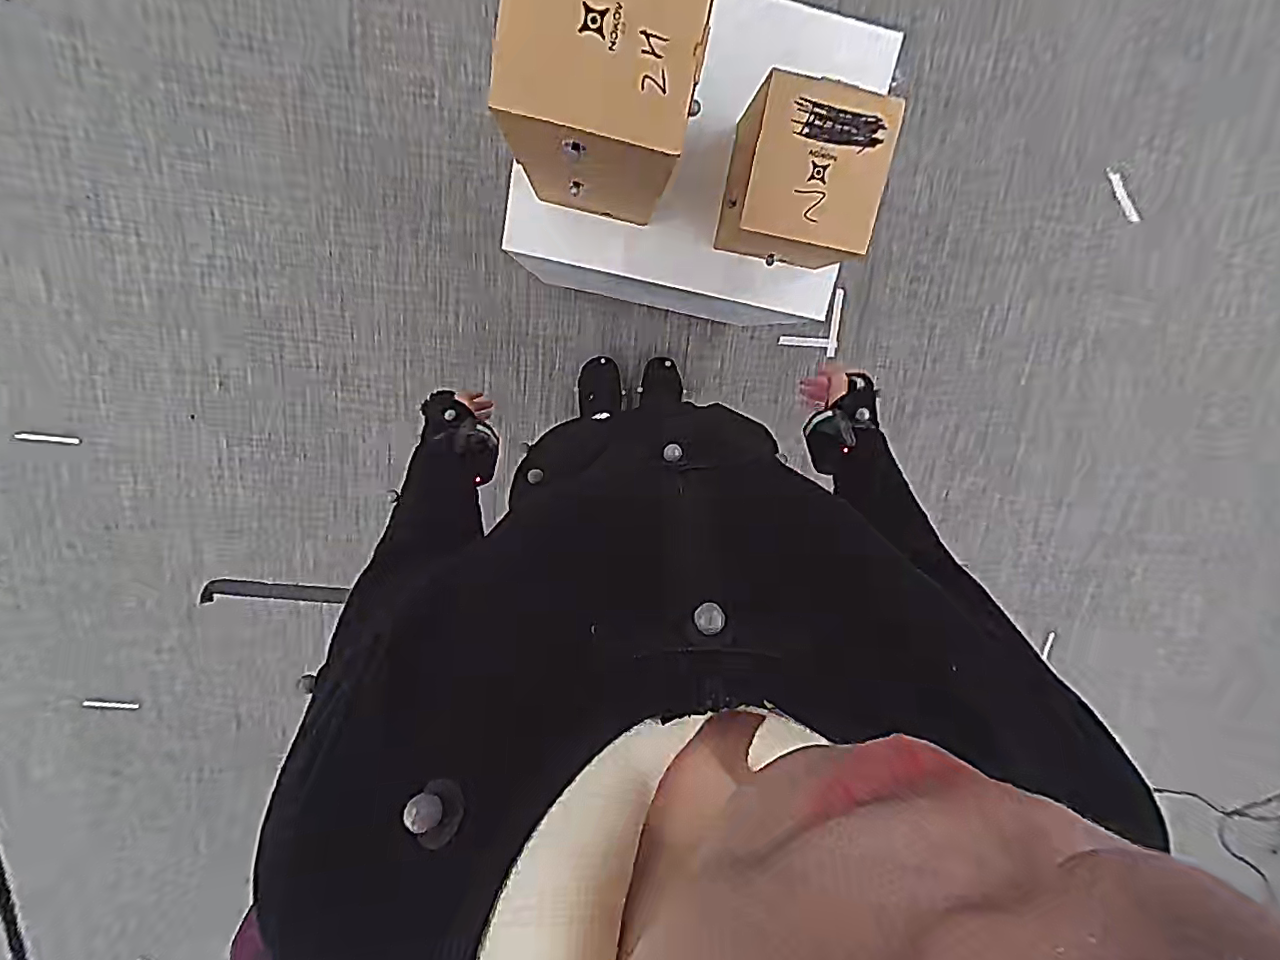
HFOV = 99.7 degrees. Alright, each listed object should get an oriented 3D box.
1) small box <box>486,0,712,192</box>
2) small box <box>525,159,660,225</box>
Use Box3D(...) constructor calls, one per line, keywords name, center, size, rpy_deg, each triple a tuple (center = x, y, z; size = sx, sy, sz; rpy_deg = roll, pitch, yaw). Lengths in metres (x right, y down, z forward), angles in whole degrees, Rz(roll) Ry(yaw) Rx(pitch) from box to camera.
Box3D(name="small box", center=(-0.036, -0.404, 0.530), size=(0.179, 0.176, 0.168), rpy_deg=(11, 105, -7))
Box3D(name="small box", center=(-0.044, -0.451, 0.688), size=(0.168, 0.176, 0.179), rpy_deg=(12, 103, -6))
